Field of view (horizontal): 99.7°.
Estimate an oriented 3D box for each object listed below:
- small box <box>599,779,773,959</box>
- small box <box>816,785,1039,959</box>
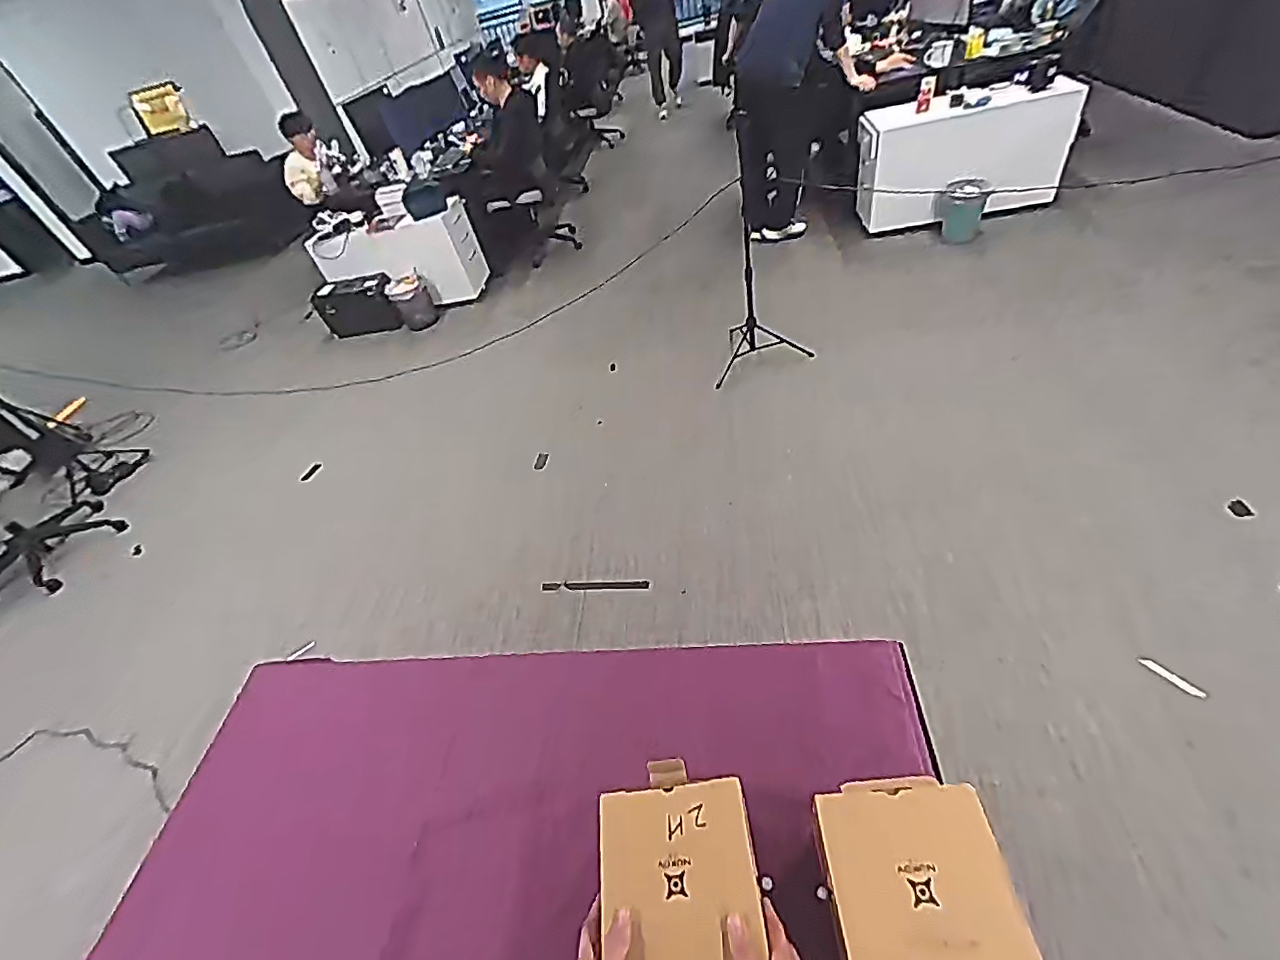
[{"bbox_3d":[0.054,0.472,0.624,0.168,0.176,0.179,-11,44,6],"label":"small box"},{"bbox_3d":[0.288,0.451,0.577,0.168,0.176,0.179,-9,44,9],"label":"small box"}]
